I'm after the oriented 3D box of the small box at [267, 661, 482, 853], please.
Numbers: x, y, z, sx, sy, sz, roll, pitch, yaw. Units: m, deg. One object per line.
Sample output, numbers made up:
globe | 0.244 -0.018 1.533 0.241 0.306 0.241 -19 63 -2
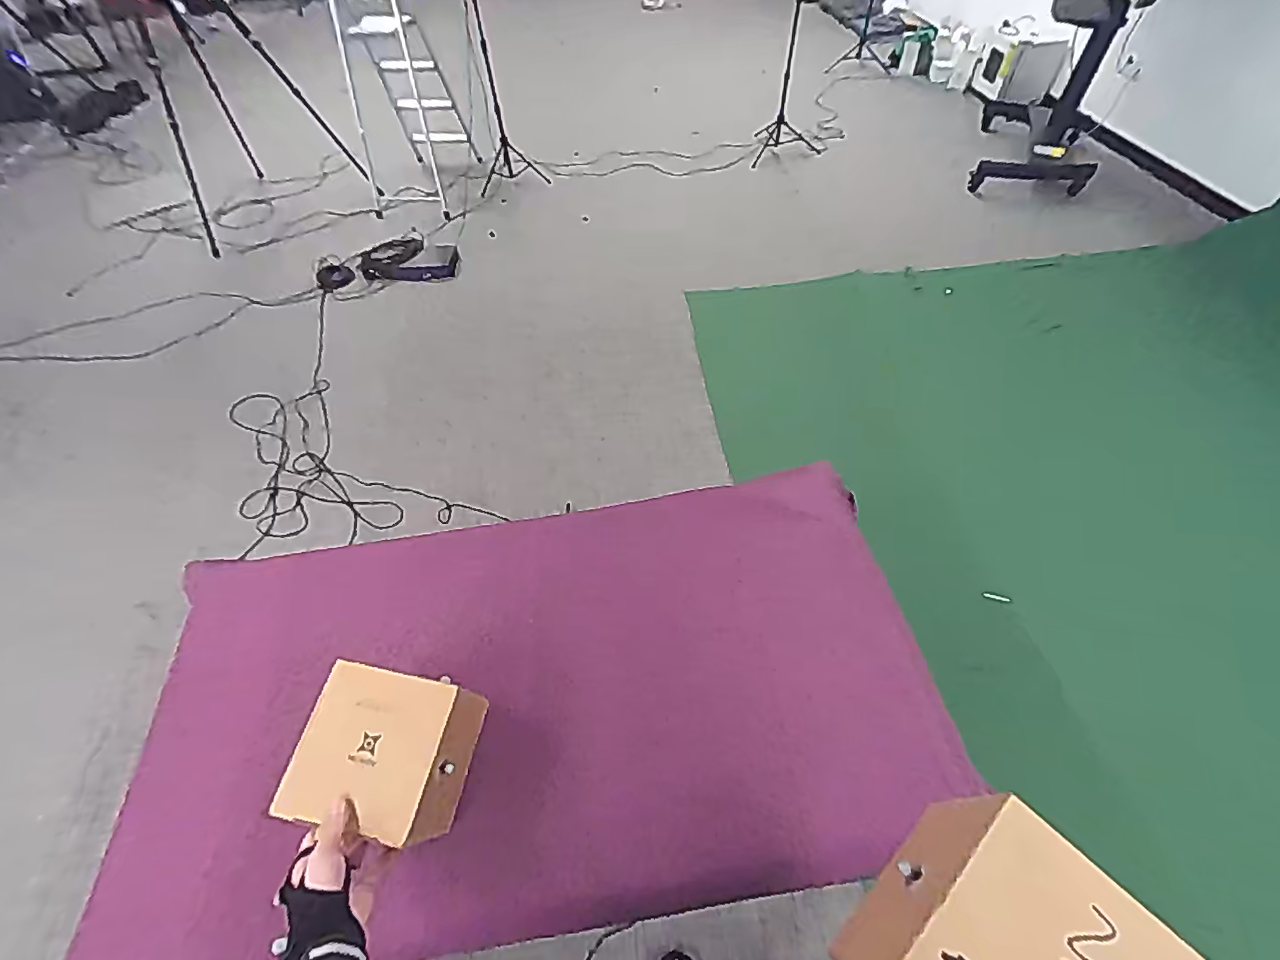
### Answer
small box | -0.327 0.358 0.713 0.168 0.176 0.179 11 62 5
